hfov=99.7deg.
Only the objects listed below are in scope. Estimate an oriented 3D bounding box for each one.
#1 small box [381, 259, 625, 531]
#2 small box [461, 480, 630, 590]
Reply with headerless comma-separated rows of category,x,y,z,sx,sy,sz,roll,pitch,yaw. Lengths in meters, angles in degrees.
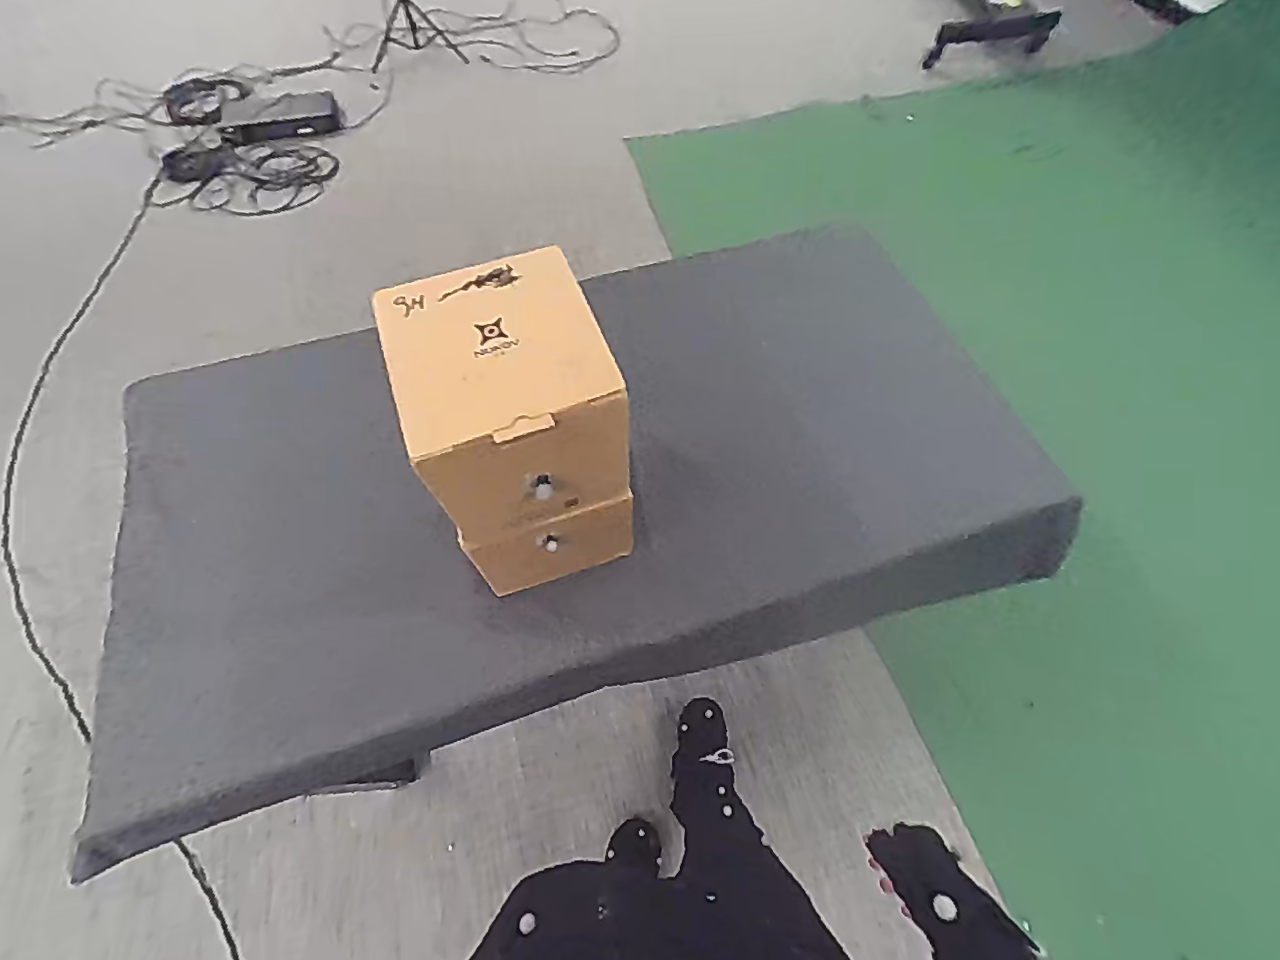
small box,-0.117,-0.068,0.513,0.168,0.176,0.179,-19,64,-10
small box,-0.117,0.015,0.654,0.179,0.176,0.168,-17,64,-11
